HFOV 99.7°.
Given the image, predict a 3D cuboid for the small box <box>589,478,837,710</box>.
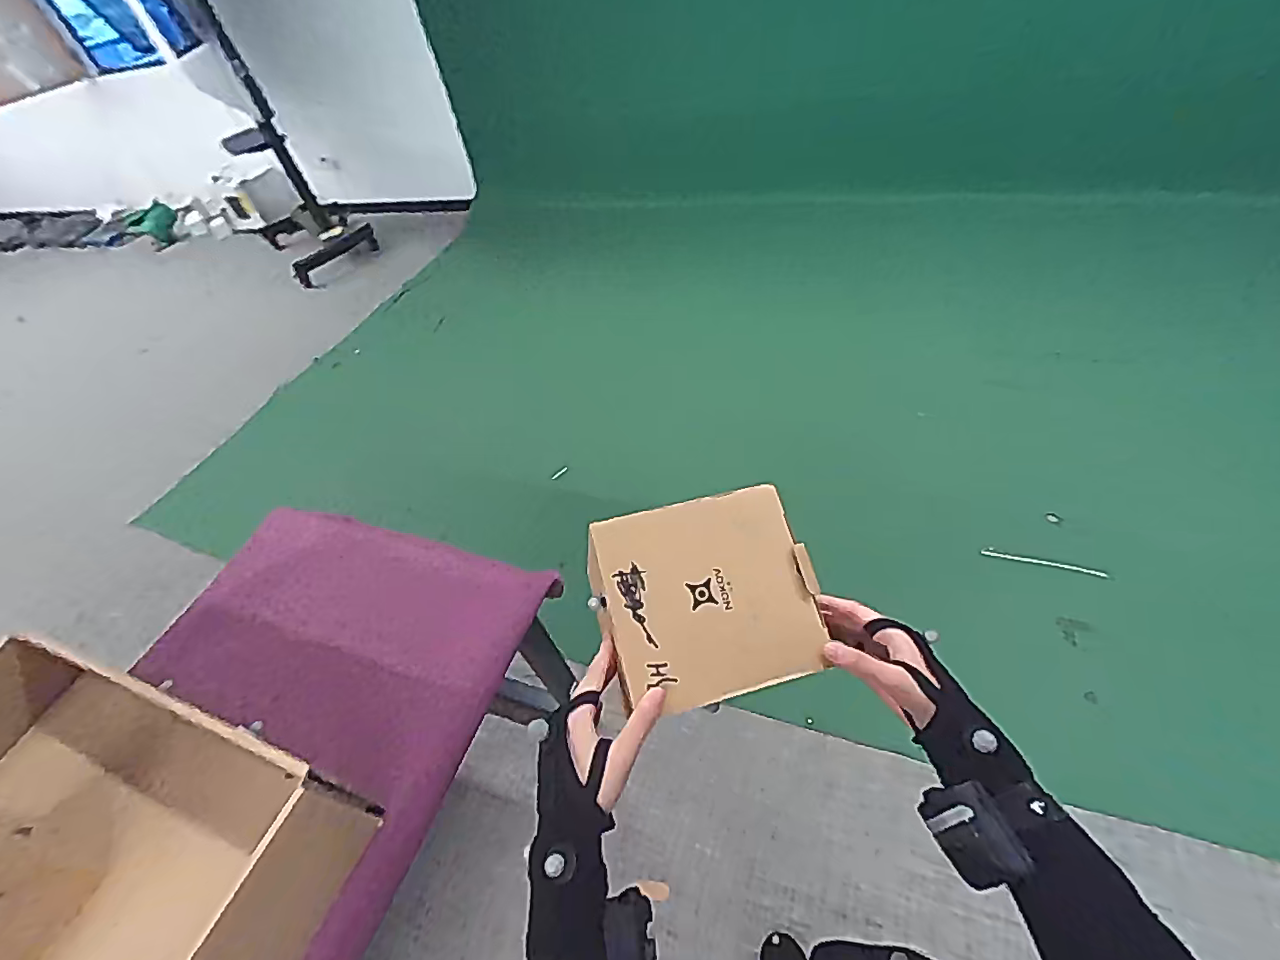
[{"bbox_3d":[0.052,0.114,0.525,0.179,0.176,0.168,-10,70,-11],"label":"small box"}]
